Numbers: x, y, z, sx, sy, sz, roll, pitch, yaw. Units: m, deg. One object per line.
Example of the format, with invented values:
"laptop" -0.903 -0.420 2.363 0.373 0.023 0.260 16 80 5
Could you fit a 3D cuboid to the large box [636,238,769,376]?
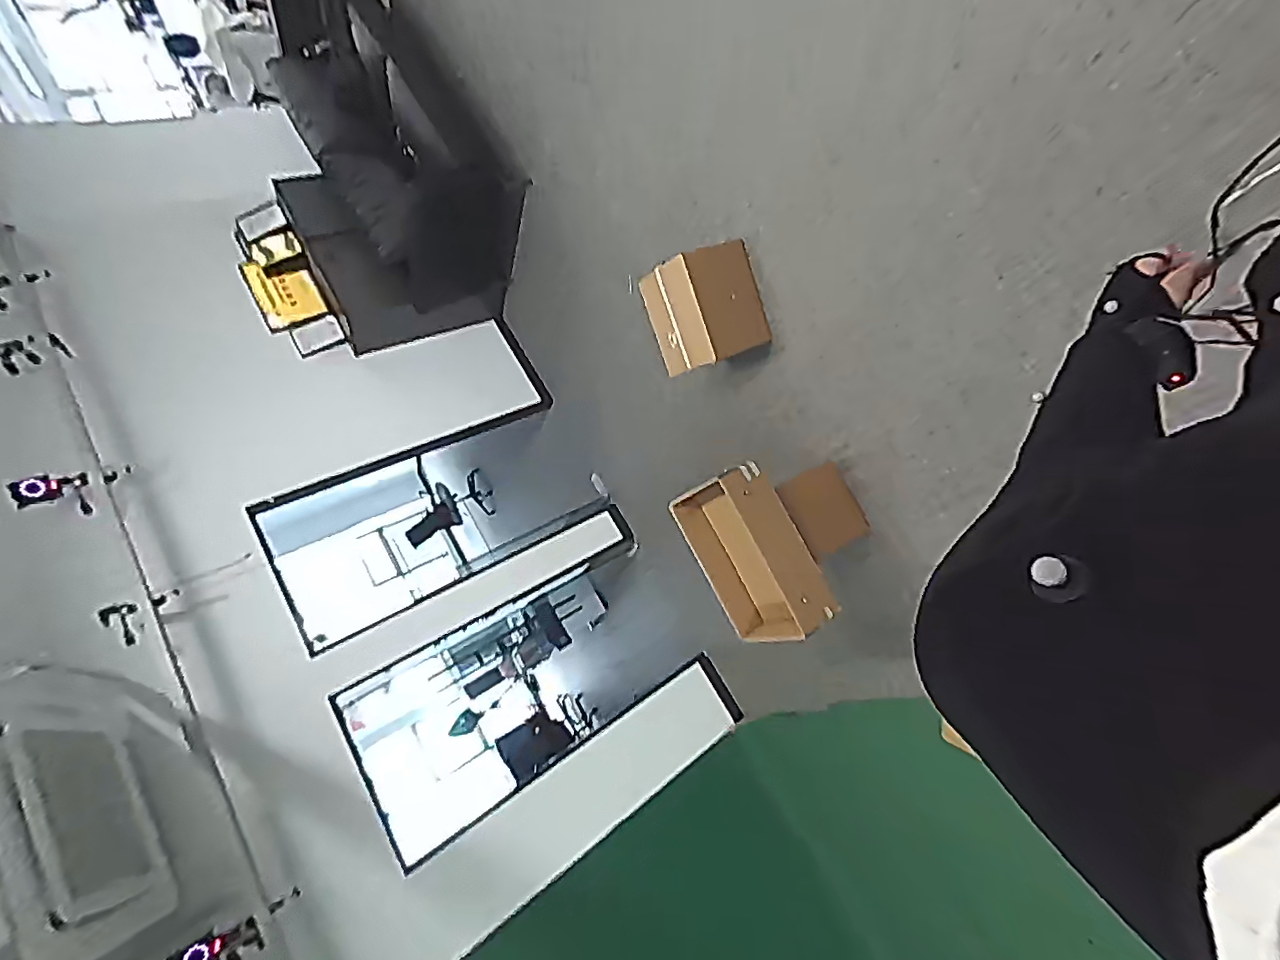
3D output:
"large box" 0.248 -0.677 2.141 0.320 0.320 0.408 -3 111 60
